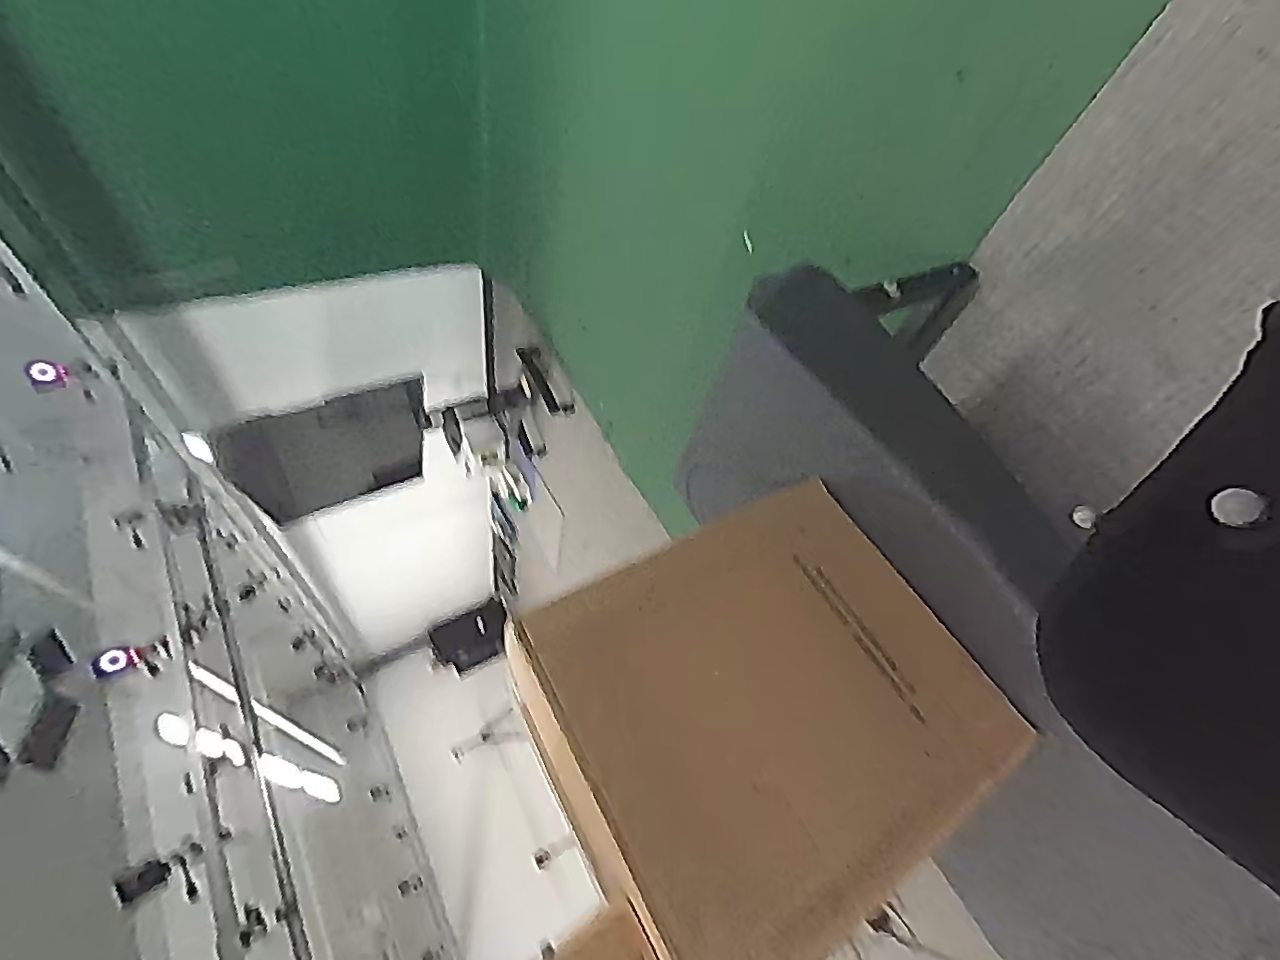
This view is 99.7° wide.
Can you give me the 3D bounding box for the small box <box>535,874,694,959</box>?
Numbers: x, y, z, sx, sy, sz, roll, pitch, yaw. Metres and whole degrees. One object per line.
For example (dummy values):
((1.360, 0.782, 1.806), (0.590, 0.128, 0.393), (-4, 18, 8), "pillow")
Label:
((-0.026, 0.609, 0.644), (0.168, 0.176, 0.179), (51, 148, 29), "small box")
